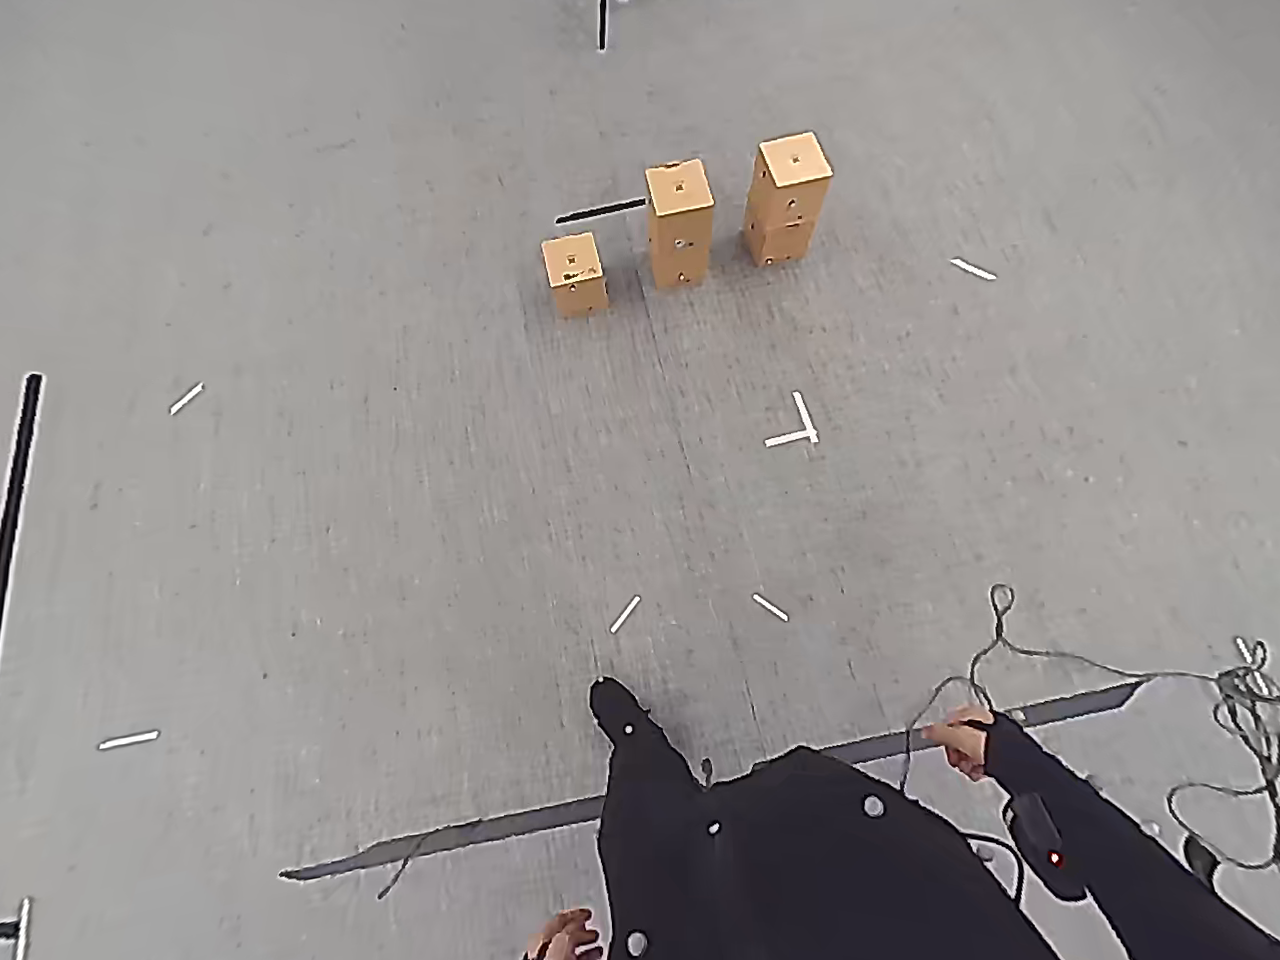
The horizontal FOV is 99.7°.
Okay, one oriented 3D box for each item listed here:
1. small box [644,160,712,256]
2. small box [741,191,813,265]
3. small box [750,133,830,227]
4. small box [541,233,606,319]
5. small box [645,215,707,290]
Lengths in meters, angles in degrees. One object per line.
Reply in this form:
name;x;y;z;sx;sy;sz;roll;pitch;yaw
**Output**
small box;0.108;-0.795;1.591;0.168;0.176;0.179;-12;71;-1
small box;0.441;-0.830;1.764;0.168;0.176;0.179;-15;71;-3
small box;0.439;-0.883;1.610;0.168;0.176;0.179;-14;71;-3
small box;-0.211;-0.648;1.729;0.168;0.176;0.179;-13;71;-2
small box;0.111;-0.749;1.748;0.168;0.176;0.179;-12;72;-2
